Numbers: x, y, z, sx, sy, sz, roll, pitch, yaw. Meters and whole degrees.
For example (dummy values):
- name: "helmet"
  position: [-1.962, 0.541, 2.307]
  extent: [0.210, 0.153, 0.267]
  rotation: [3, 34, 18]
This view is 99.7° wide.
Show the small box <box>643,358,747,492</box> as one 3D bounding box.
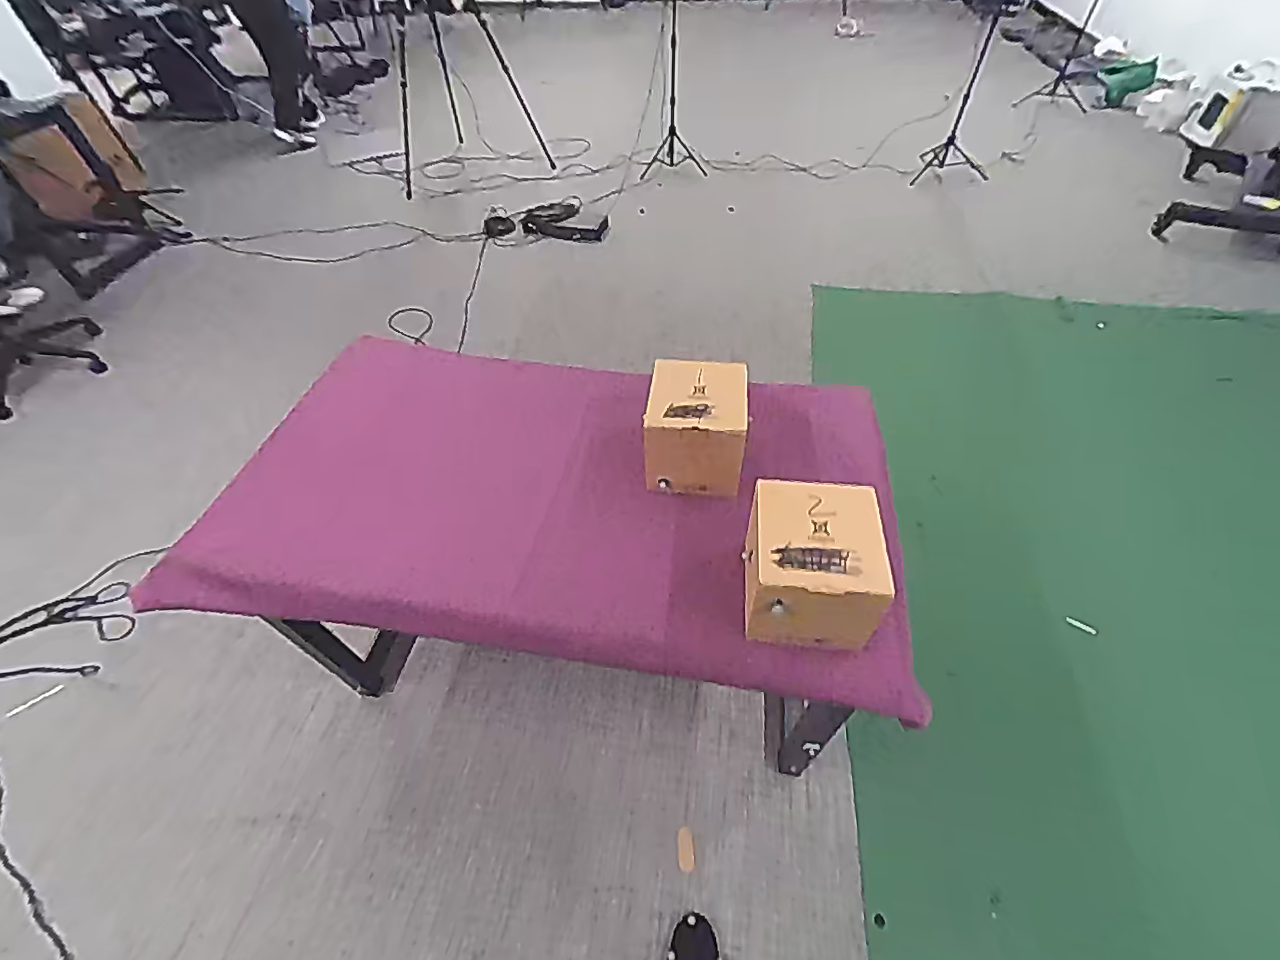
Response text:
- name: "small box"
  position: [0.099, -0.096, 0.969]
  extent: [0.168, 0.176, 0.179]
  rotation: [5, 50, 6]
